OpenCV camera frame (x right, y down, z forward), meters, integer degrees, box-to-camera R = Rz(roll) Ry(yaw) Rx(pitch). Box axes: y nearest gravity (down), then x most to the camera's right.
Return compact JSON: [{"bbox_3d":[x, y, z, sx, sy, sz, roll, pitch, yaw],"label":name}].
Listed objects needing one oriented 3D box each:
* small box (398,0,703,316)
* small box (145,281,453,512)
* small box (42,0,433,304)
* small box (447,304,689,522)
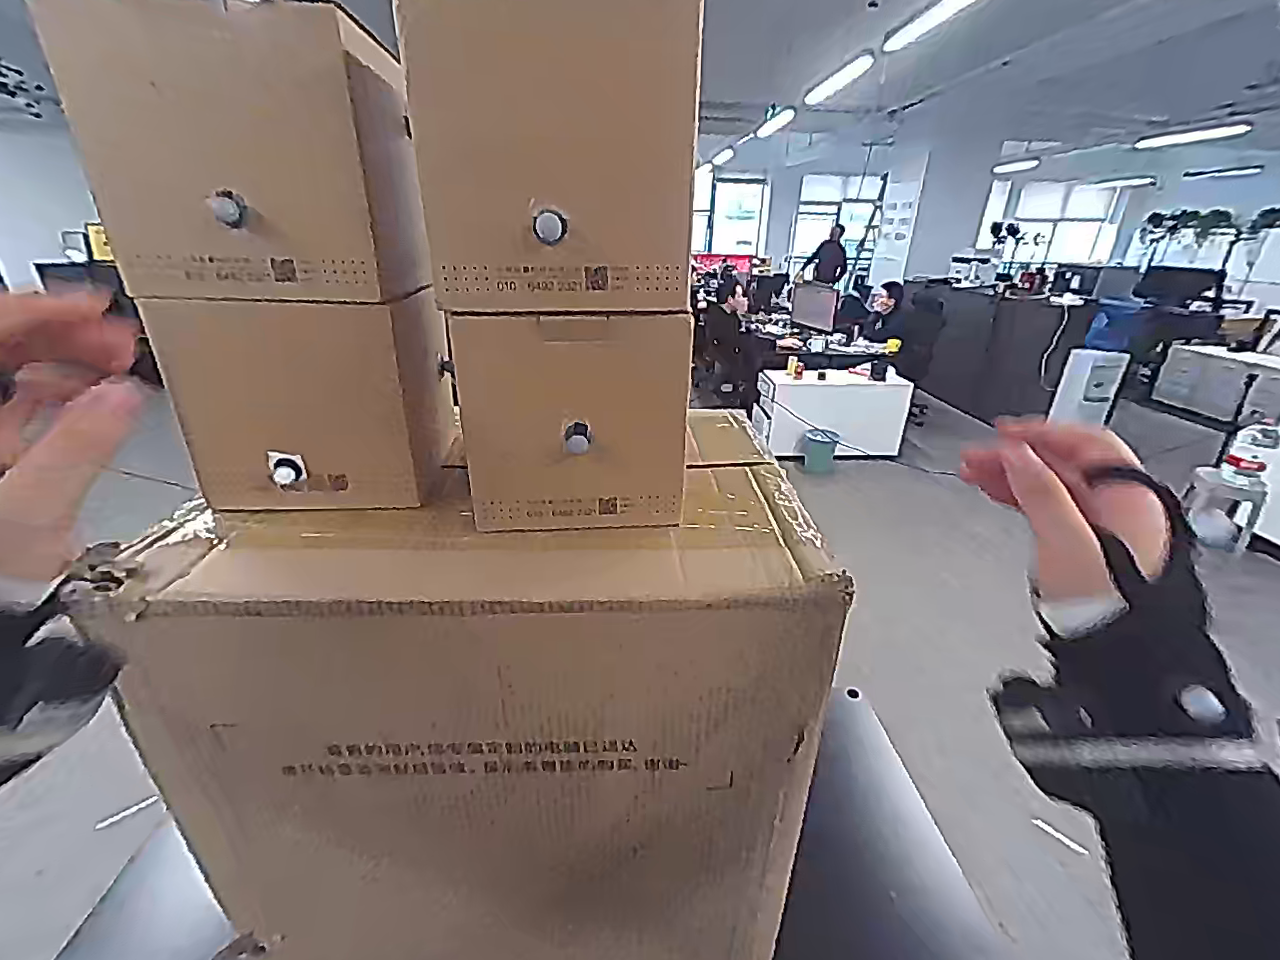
[{"bbox_3d":[-0.053,-0.219,0.391,0.168,0.176,0.179,-1,26,-4],"label":"small box"},{"bbox_3d":[-0.269,-0.084,0.481,0.168,0.176,0.179,-2,26,-8],"label":"small box"},{"bbox_3d":[-0.265,-0.233,0.410,0.168,0.176,0.179,-1,25,-6],"label":"small box"},{"bbox_3d":[-0.053,-0.073,0.467,0.168,0.176,0.179,-1,26,-5],"label":"small box"}]
